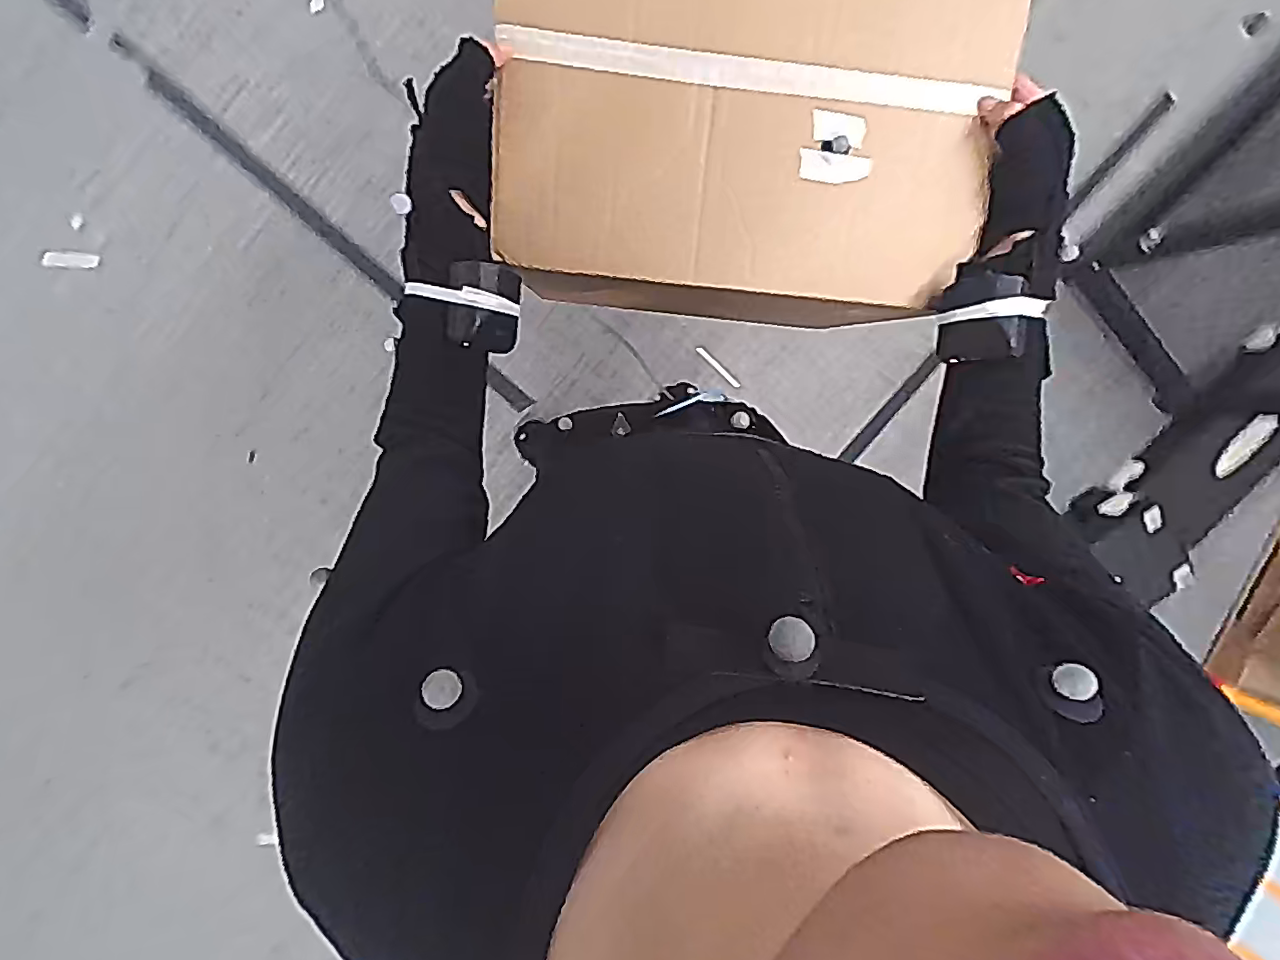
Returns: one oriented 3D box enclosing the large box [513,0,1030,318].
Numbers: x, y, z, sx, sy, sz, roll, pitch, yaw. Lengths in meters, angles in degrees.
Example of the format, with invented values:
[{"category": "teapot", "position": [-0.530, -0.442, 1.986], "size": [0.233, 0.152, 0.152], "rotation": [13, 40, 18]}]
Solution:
[{"category": "large box", "position": [0.091, -0.356, 0.573], "size": [0.408, 0.320, 0.320], "rotation": [5, 104, -6]}]
